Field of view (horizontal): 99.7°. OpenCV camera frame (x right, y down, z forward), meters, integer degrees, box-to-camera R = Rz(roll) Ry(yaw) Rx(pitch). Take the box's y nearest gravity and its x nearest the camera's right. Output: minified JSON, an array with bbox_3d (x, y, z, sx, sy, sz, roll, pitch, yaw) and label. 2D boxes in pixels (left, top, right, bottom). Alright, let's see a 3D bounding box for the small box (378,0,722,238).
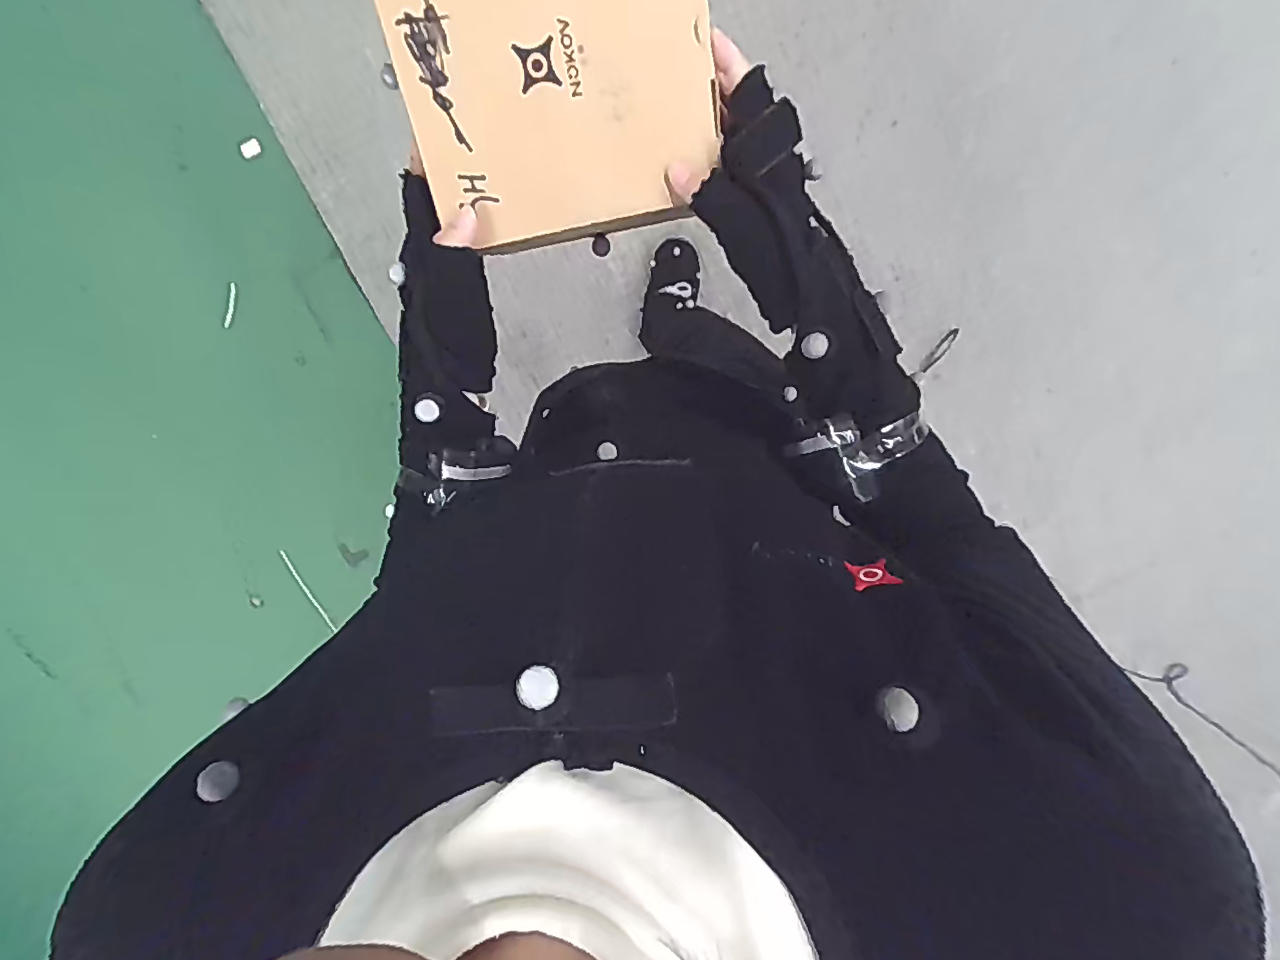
[{"bbox_3d":[-0.051,-0.269,0.371,0.179,0.176,0.168,-10,112,3],"label":"small box"}]
